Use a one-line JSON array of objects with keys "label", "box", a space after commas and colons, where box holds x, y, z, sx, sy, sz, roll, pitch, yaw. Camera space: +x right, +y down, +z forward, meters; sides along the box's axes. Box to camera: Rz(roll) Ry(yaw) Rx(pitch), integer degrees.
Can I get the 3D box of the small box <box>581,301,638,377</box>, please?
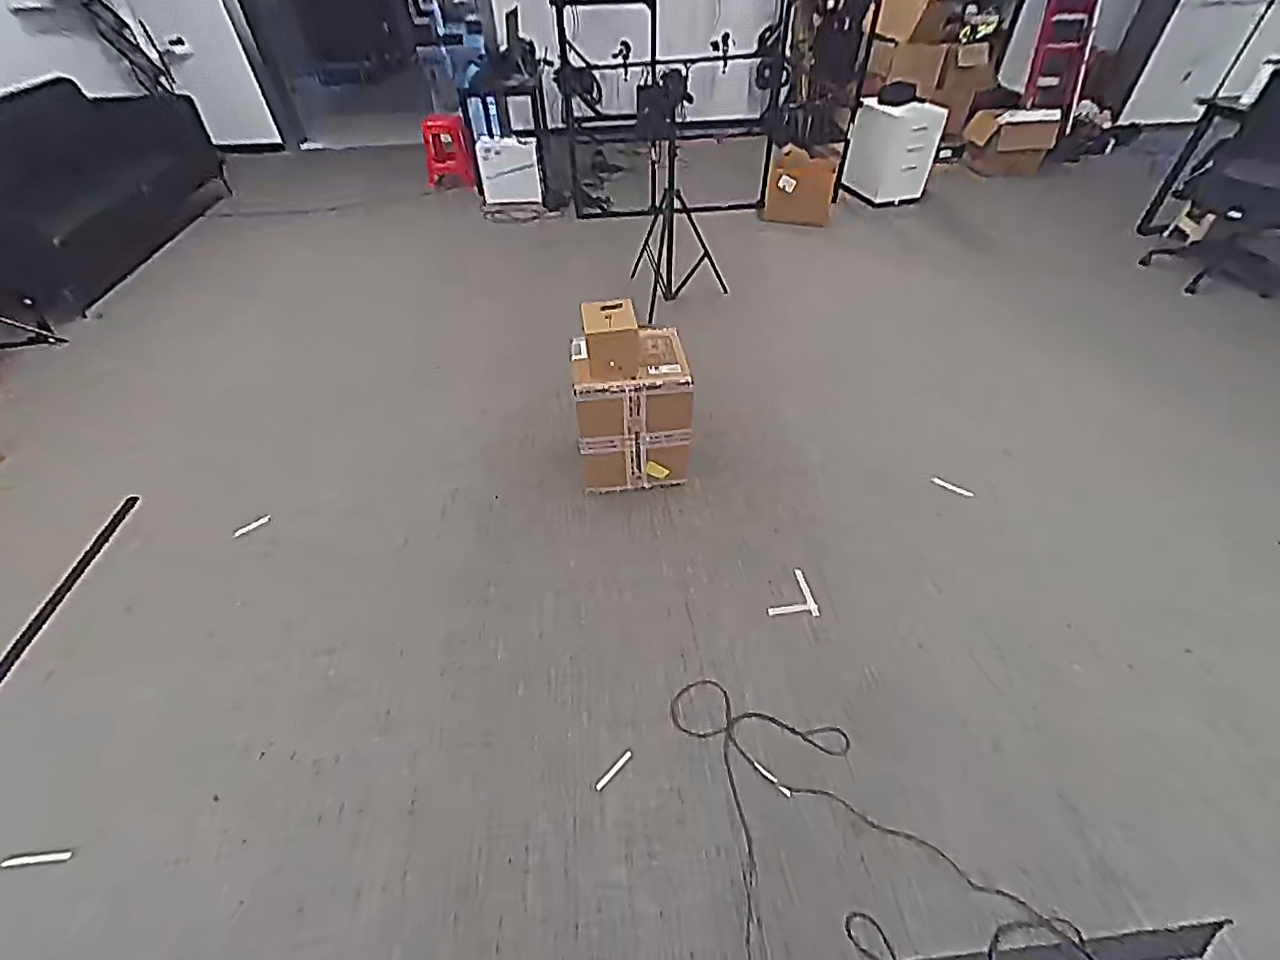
[{"label": "small box", "box": [-0.099, -0.462, 1.768, 0.168, 0.176, 0.179, -8, 49, -4]}]
